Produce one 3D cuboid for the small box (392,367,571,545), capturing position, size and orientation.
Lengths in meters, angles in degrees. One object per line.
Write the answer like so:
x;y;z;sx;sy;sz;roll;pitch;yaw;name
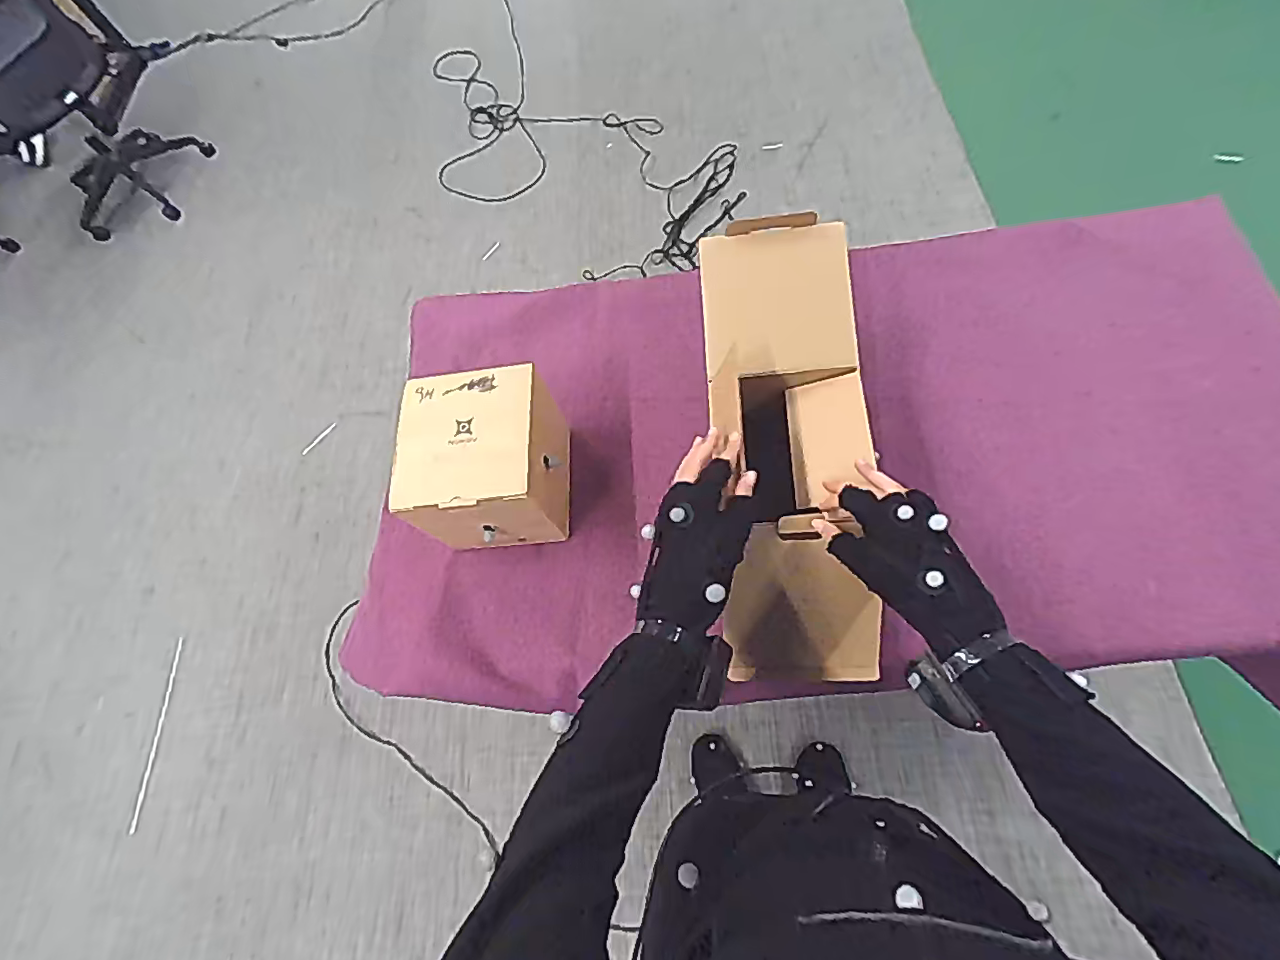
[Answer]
-0.190;-0.019;0.700;0.168;0.176;0.179;-6;67;7;small box
